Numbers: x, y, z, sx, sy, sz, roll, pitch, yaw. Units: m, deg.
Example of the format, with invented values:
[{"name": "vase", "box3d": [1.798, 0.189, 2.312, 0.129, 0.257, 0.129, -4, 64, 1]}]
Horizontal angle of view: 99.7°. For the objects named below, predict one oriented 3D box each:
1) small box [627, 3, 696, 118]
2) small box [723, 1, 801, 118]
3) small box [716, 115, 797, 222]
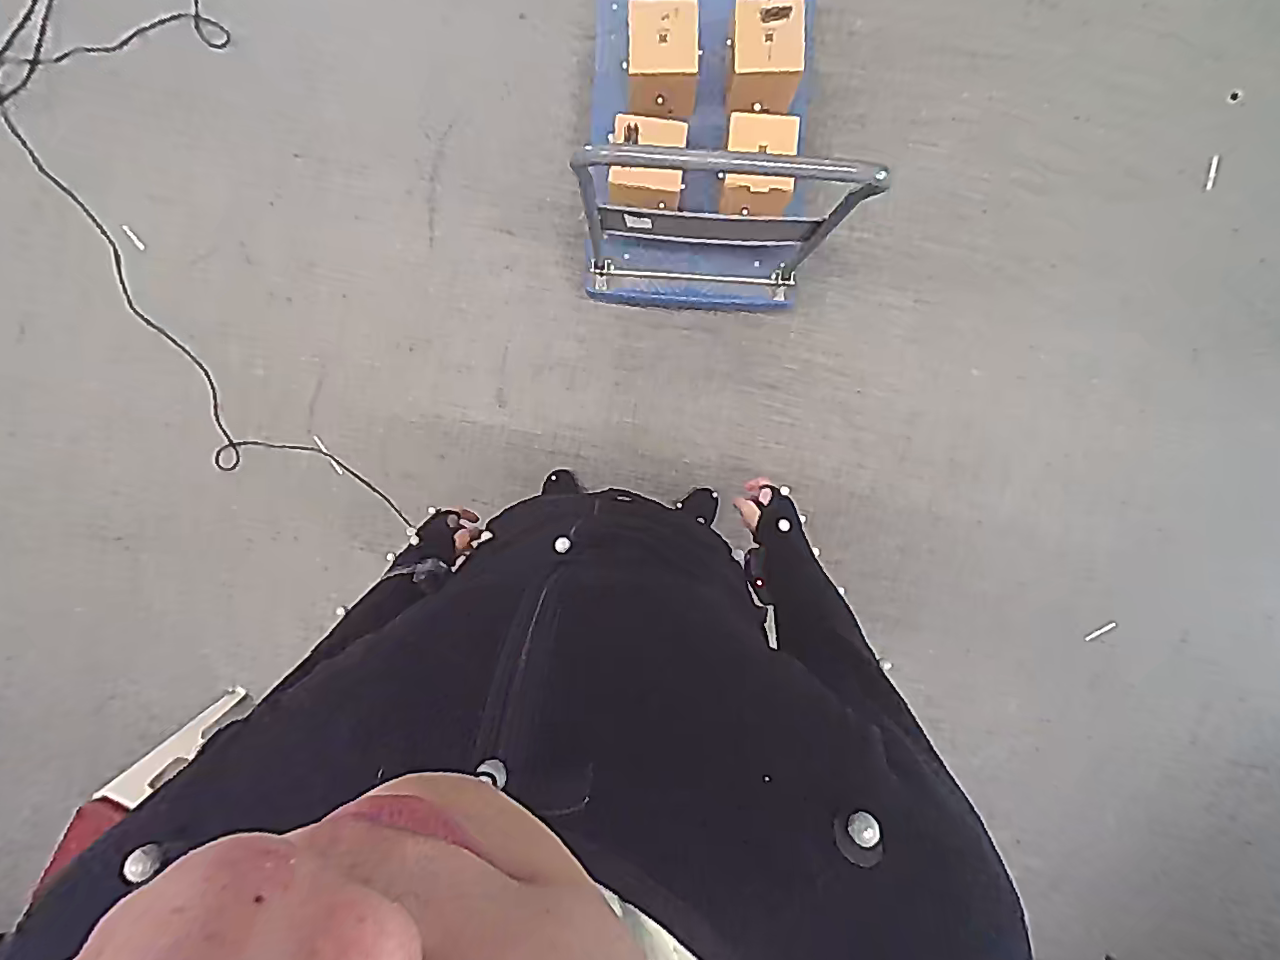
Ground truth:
[{"name": "small box", "box3d": [0.052, -1.054, 1.374, 0.168, 0.176, 0.179, 0, 91, 0]}, {"name": "small box", "box3d": [0.304, -1.058, 1.372, 0.168, 0.176, 0.179, 0, 92, 1]}, {"name": "small box", "box3d": [0.290, -0.788, 1.380, 0.168, 0.176, 0.179, 4, 92, 0]}]
